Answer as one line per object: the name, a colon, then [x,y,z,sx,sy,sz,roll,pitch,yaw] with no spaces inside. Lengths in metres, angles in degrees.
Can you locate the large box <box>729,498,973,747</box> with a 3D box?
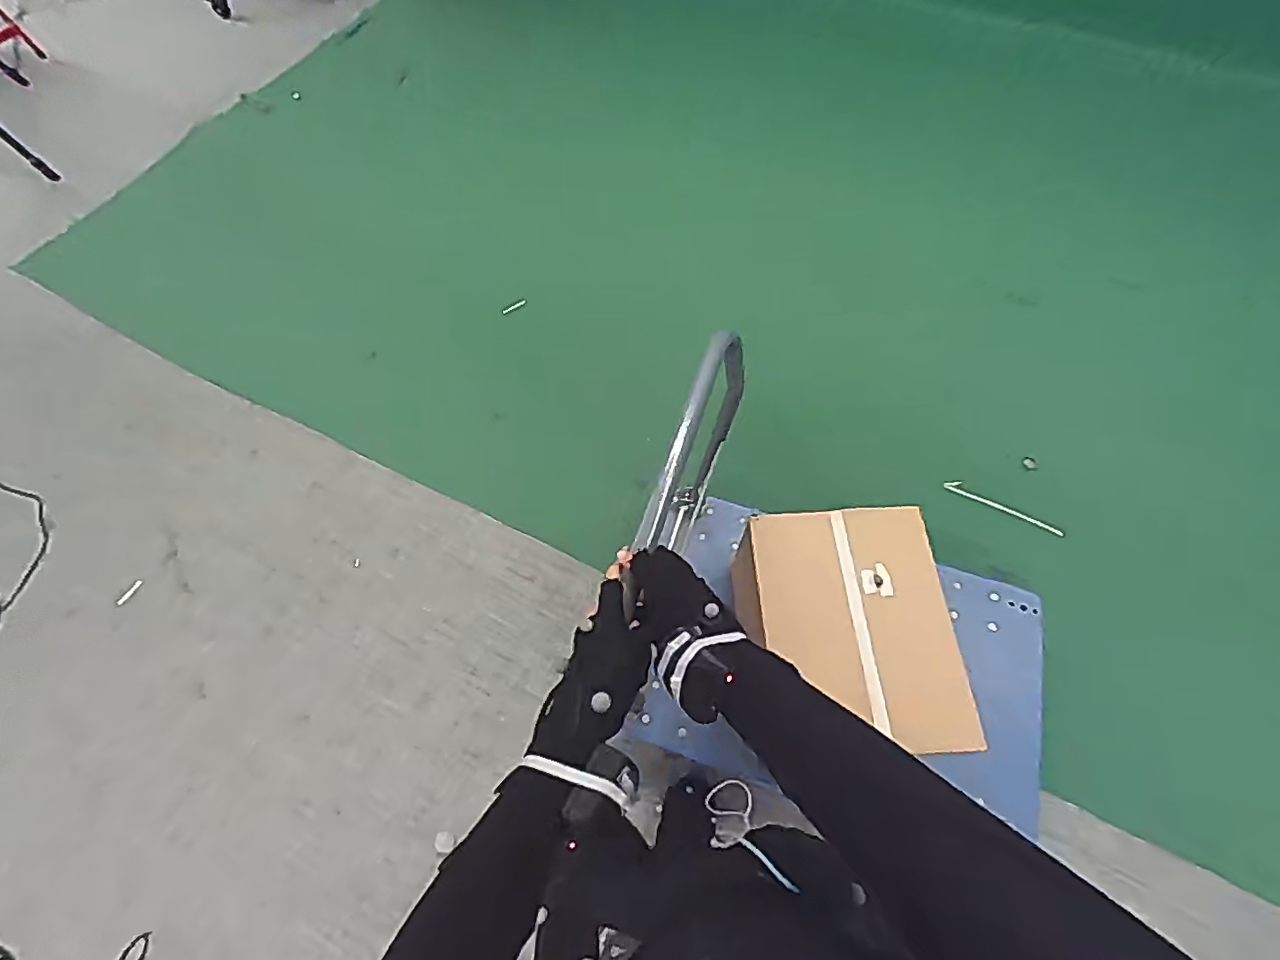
large box: [0.362,0.287,1.056,0.320,0.320,0.408,-3,64,1]
